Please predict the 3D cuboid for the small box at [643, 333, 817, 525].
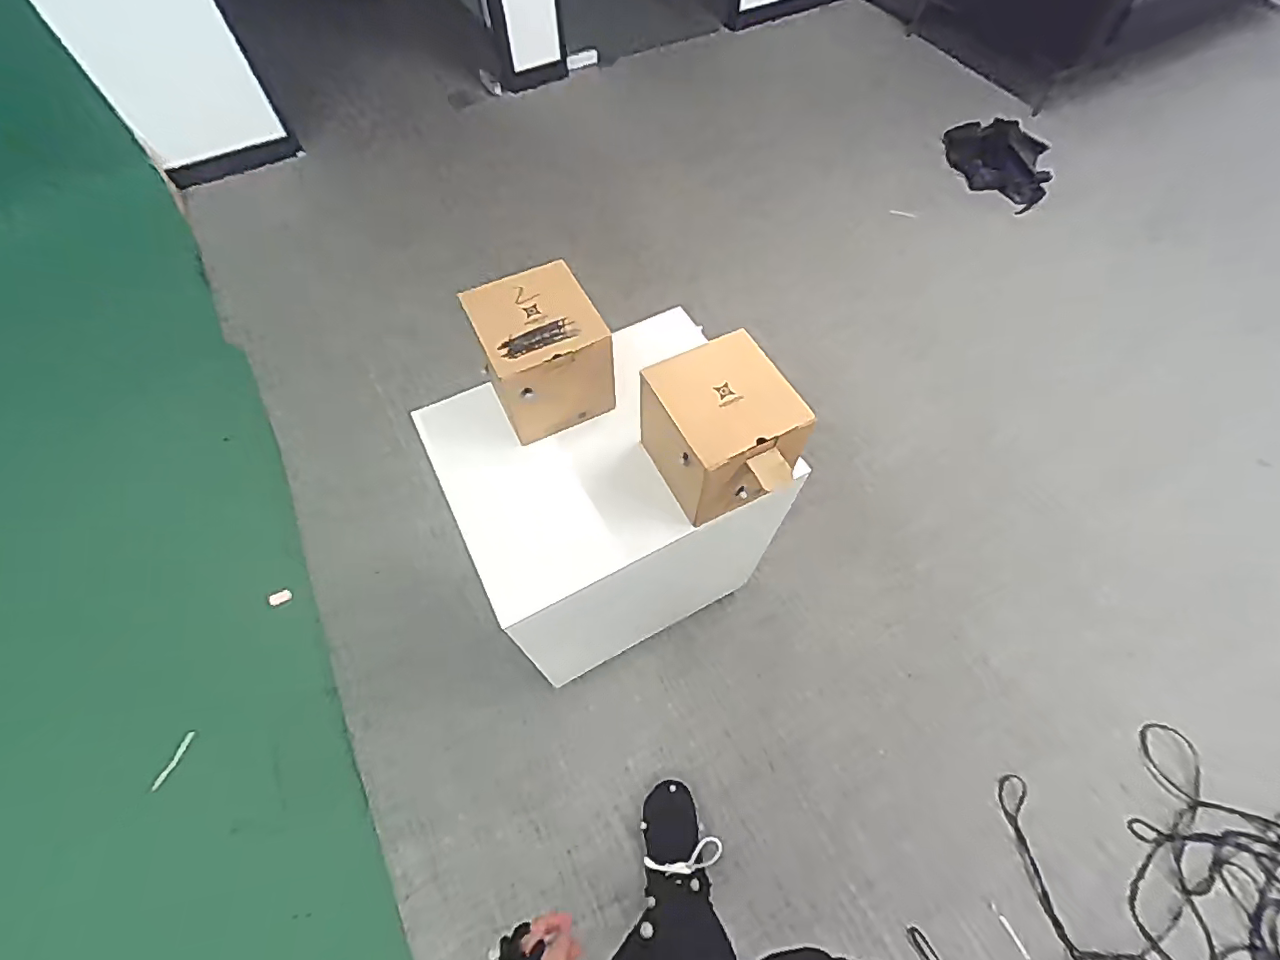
[{"bbox_3d":[0.111,-0.067,0.761,0.168,0.176,0.179,-25,63,-13],"label":"small box"}]
